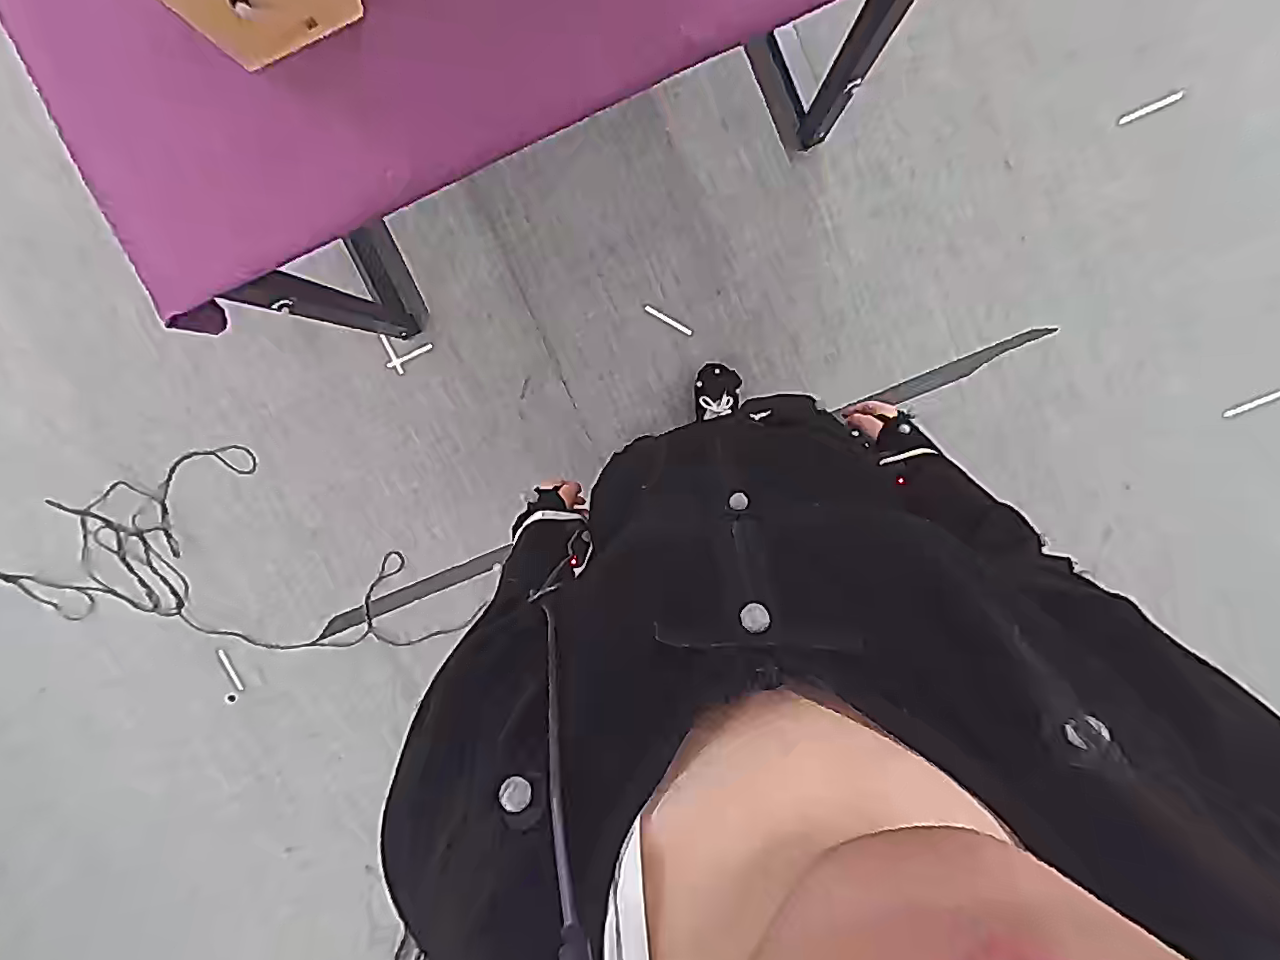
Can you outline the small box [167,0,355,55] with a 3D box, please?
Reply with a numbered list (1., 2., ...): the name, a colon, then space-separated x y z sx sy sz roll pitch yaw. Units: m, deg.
1. small box: -0.451 -0.611 0.583 0.168 0.176 0.179 -22 97 5
